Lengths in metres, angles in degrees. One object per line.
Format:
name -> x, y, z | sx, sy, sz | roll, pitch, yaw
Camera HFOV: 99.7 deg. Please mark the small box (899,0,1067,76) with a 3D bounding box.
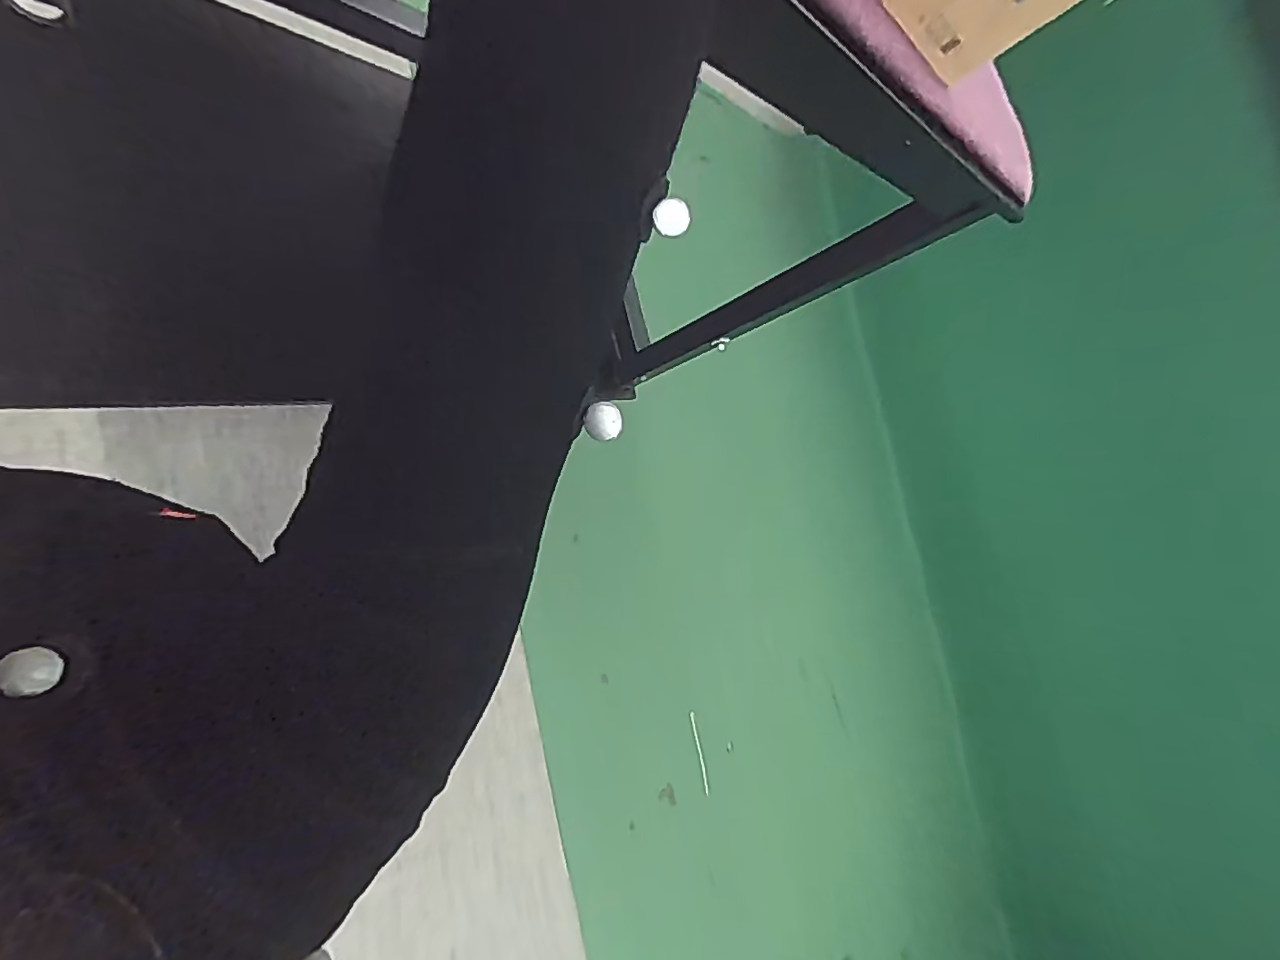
small box -> 0.275, -0.463, 0.407 | 0.168, 0.176, 0.179 | -8, 86, -44
